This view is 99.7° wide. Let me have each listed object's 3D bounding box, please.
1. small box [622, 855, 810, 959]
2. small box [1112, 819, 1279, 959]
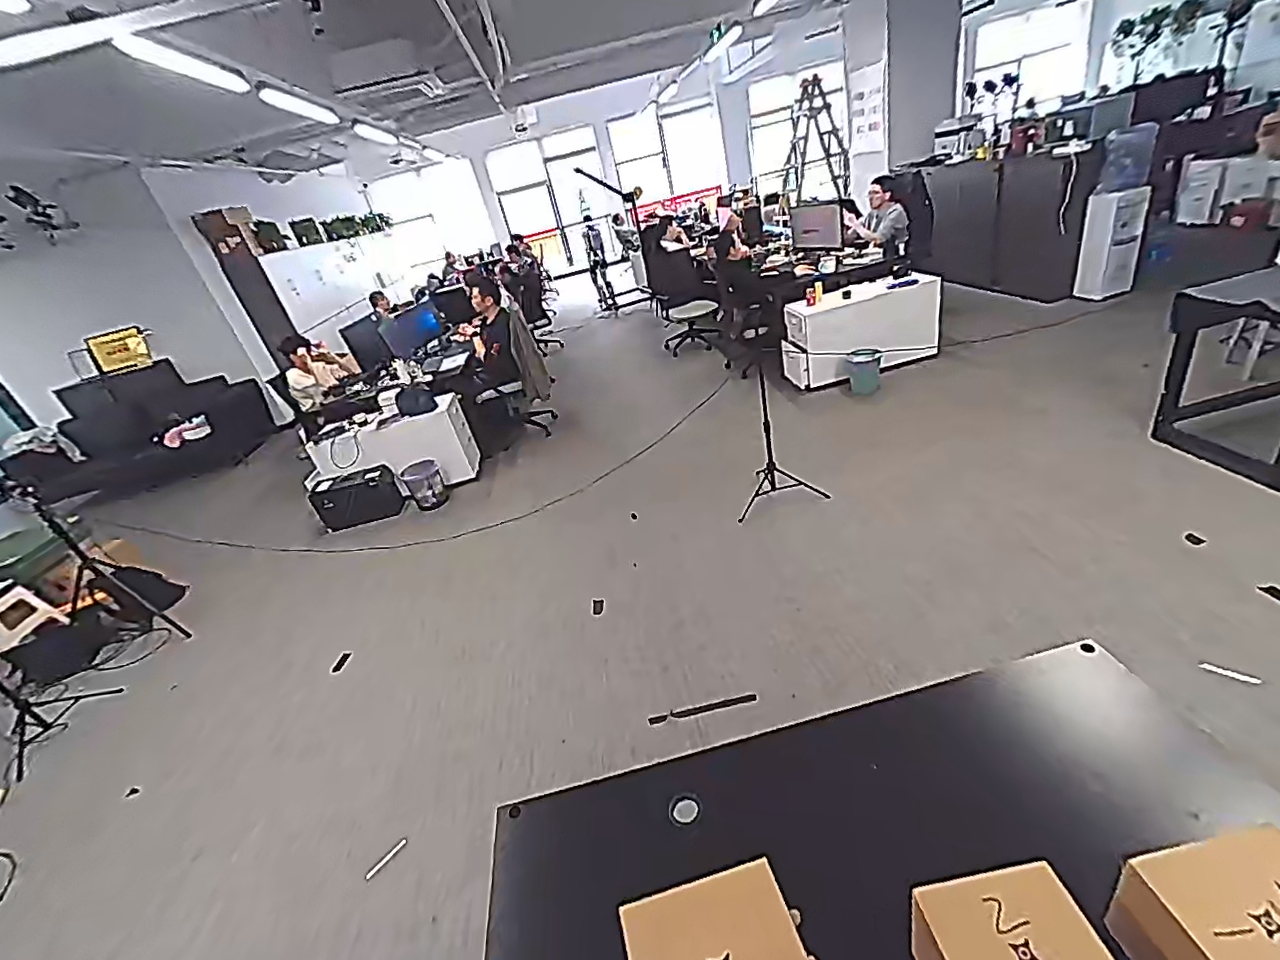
[{"bbox_3d":[0.086,0.527,0.536,0.168,0.176,0.179,-13,31,-9],"label":"small box"},{"bbox_3d":[0.680,0.521,0.598,0.179,0.176,0.168,-16,28,2],"label":"small box"}]
